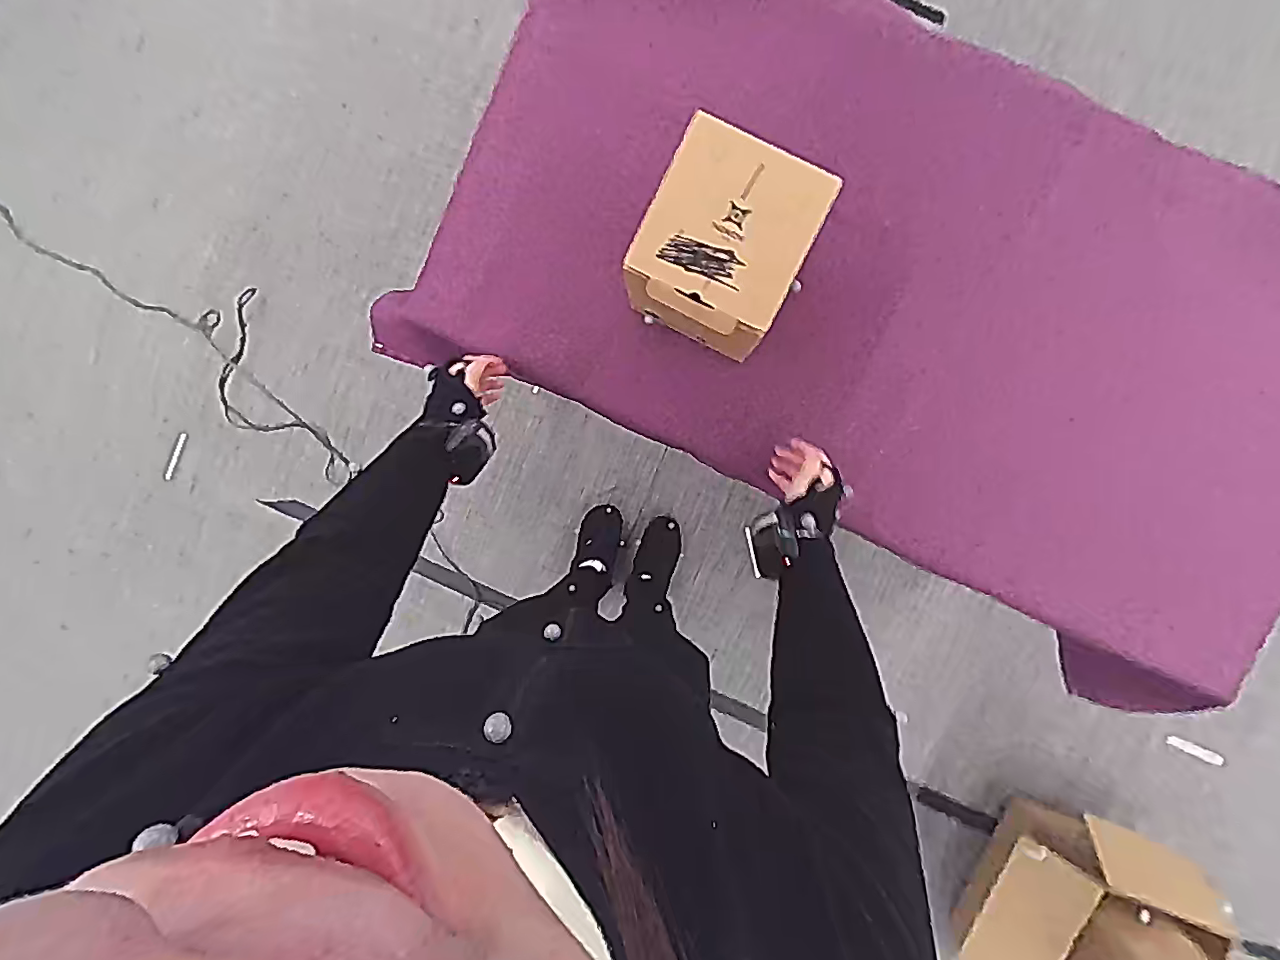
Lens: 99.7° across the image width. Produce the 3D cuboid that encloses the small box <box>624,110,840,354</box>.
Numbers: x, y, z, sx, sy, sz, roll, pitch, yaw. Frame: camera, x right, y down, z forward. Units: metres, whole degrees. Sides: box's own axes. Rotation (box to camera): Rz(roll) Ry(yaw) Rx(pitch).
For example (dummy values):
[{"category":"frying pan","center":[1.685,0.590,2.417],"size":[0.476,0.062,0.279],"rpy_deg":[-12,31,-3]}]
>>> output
[{"category":"small box","center":[0.097,-0.267,0.631],"size":[0.168,0.176,0.179],"rpy_deg":[27,93,1]}]

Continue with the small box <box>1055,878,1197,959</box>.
[{"category":"small box","center":[1.069,1.036,1.205],"size":[0.168,0.176,0.179],"rpy_deg":[3,96,6]}]
